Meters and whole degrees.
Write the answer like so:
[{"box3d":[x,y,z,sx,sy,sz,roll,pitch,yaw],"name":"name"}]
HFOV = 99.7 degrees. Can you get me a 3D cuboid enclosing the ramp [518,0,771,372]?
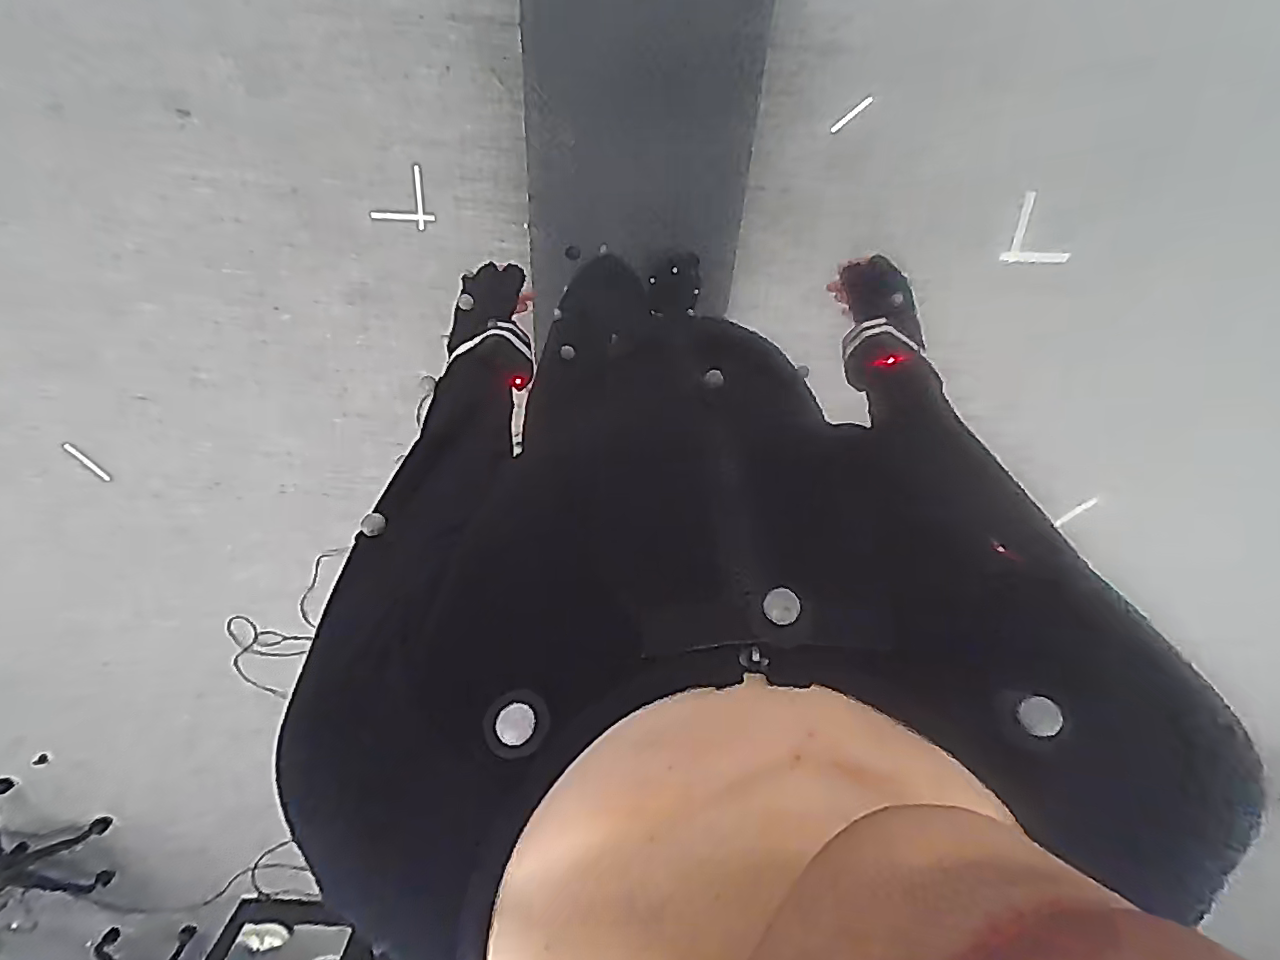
[{"box3d":[-0.005,-0.715,1.175,0.509,0.206,0.991,1,114,-2],"name":"ramp"}]
